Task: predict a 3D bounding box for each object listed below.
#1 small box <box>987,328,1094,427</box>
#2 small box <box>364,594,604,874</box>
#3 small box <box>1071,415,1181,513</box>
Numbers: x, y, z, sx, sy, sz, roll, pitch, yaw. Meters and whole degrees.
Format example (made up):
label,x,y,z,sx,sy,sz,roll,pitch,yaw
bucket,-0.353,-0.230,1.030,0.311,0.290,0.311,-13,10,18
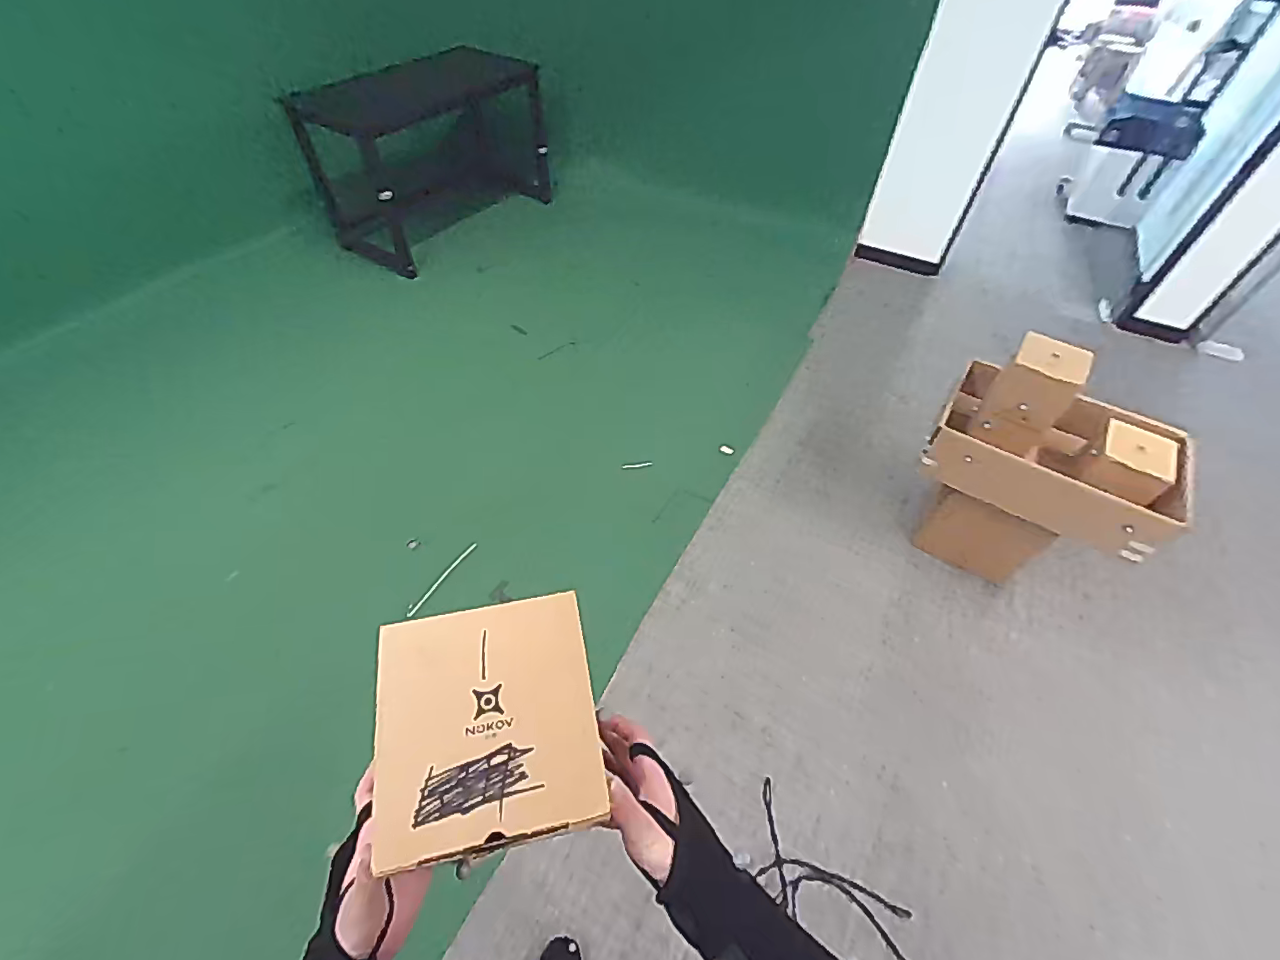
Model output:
label,x,y,z,sx,sy,sz,roll,pitch,yaw
small box,1.091,-0.280,1.482,0.168,0.176,0.179,29,56,22
small box,-0.125,0.225,0.484,0.168,0.176,0.179,-8,56,-9
small box,1.348,-0.044,1.508,0.168,0.176,0.179,28,57,20
